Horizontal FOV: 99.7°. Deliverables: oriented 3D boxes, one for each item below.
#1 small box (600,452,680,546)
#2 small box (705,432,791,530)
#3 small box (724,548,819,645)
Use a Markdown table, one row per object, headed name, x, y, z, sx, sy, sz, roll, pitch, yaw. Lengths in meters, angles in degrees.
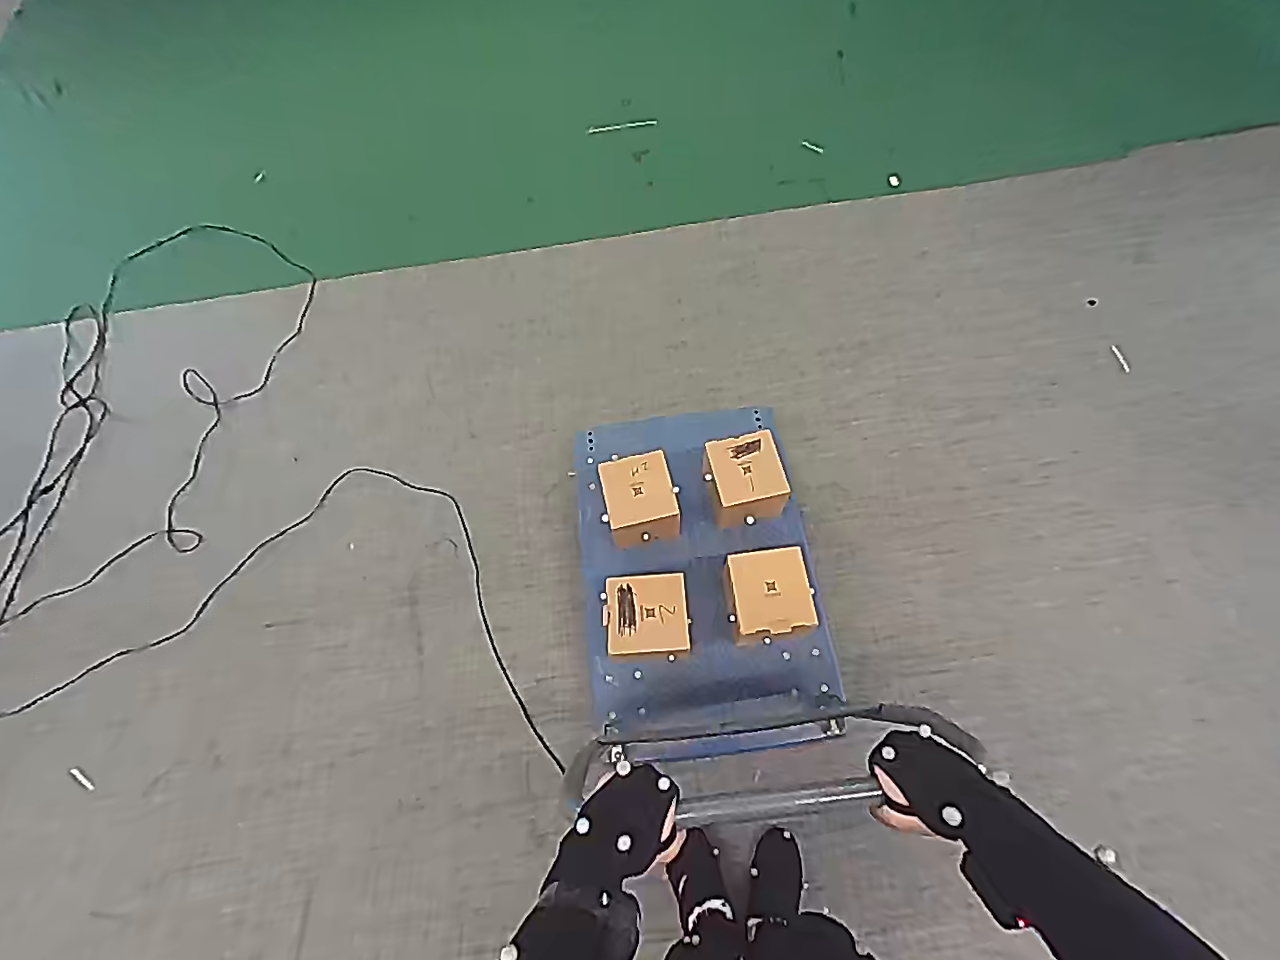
| name | x | y | z | sx | sy | sz | roll | pitch | yaw |
| --- | --- | --- | --- | --- | --- | --- | --- | --- | --- |
| small box | 0.003 | 0.057 | 1.362 | 0.168 | 0.176 | 0.179 | -12 | 65 | -3 |
| small box | 0.263 | 0.006 | 1.369 | 0.168 | 0.176 | 0.179 | -12 | 66 | -1 |
| small box | 0.293 | 0.272 | 1.247 | 0.168 | 0.176 | 0.179 | -7 | 66 | 1 |
